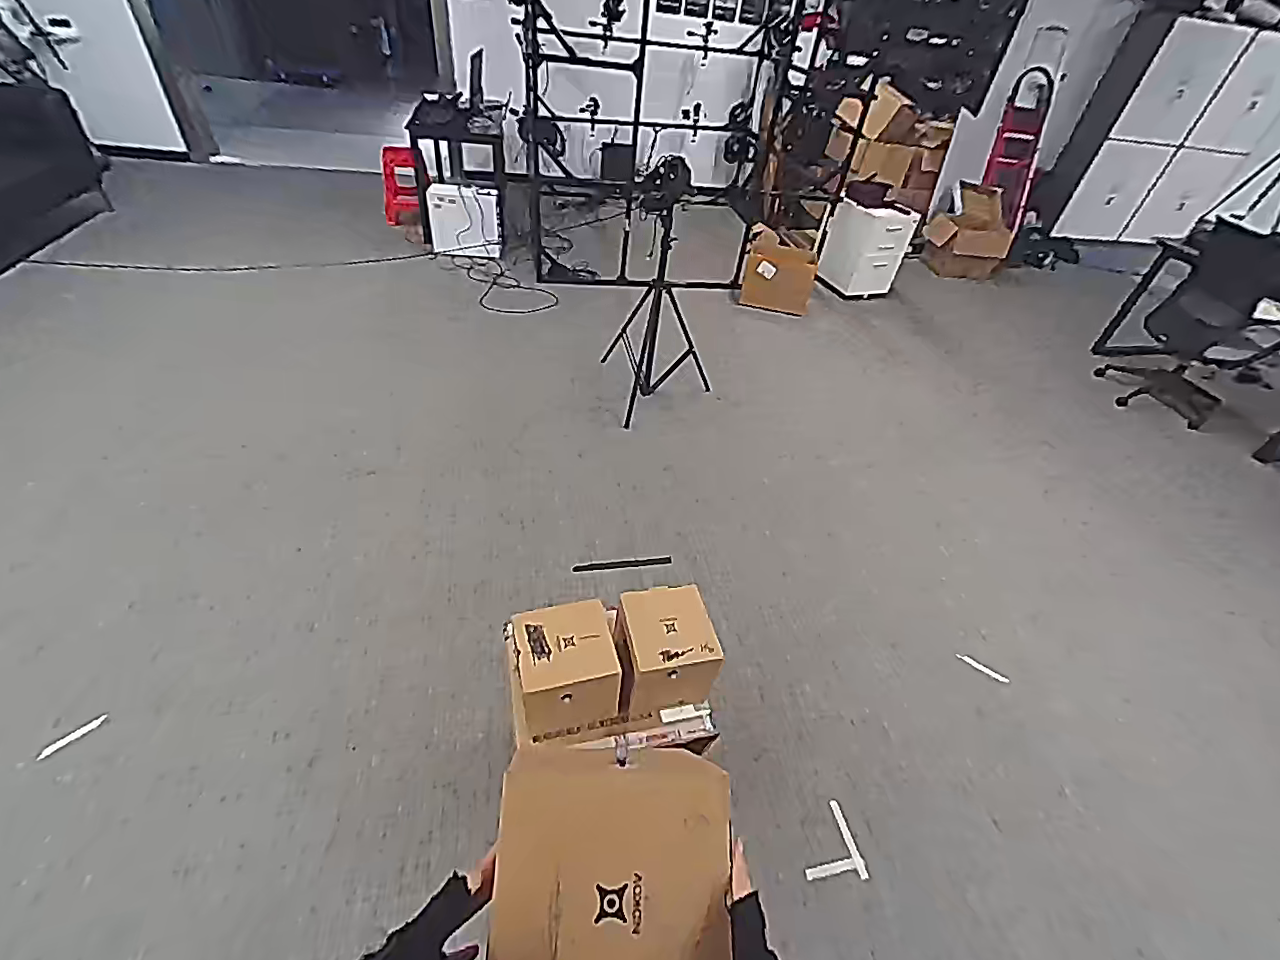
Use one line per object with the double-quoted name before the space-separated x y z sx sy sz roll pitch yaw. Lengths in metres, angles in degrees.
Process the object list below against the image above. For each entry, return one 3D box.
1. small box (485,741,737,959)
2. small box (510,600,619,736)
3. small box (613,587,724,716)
"small box" -0.029 0.318 0.457 0.179 0.176 0.168 4 68 -7
"small box" -0.144 0.359 1.030 0.179 0.176 0.168 -8 43 -16
"small box" 0.046 0.341 1.083 0.168 0.176 0.179 -4 41 -15
